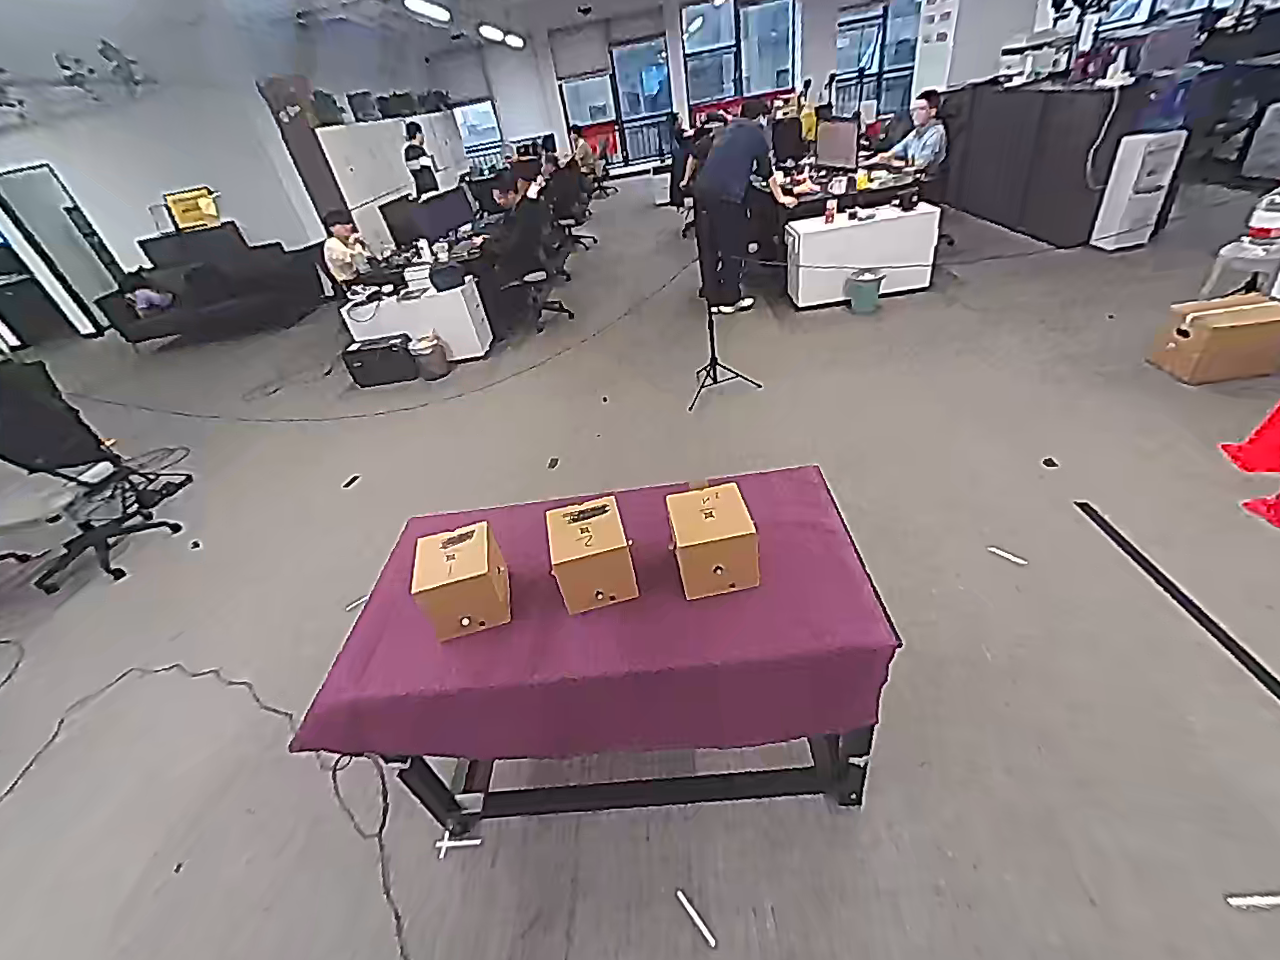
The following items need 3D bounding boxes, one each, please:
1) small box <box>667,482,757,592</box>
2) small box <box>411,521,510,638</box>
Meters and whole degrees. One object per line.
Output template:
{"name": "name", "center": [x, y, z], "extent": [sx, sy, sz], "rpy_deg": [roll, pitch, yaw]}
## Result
{"name": "small box", "center": [0.162, 0.134, 1.214], "extent": [0.168, 0.176, 0.179], "rpy_deg": [-10, 35, 0]}
{"name": "small box", "center": [-0.403, 0.227, 1.241], "extent": [0.168, 0.176, 0.179], "rpy_deg": [-15, 37, -5]}
